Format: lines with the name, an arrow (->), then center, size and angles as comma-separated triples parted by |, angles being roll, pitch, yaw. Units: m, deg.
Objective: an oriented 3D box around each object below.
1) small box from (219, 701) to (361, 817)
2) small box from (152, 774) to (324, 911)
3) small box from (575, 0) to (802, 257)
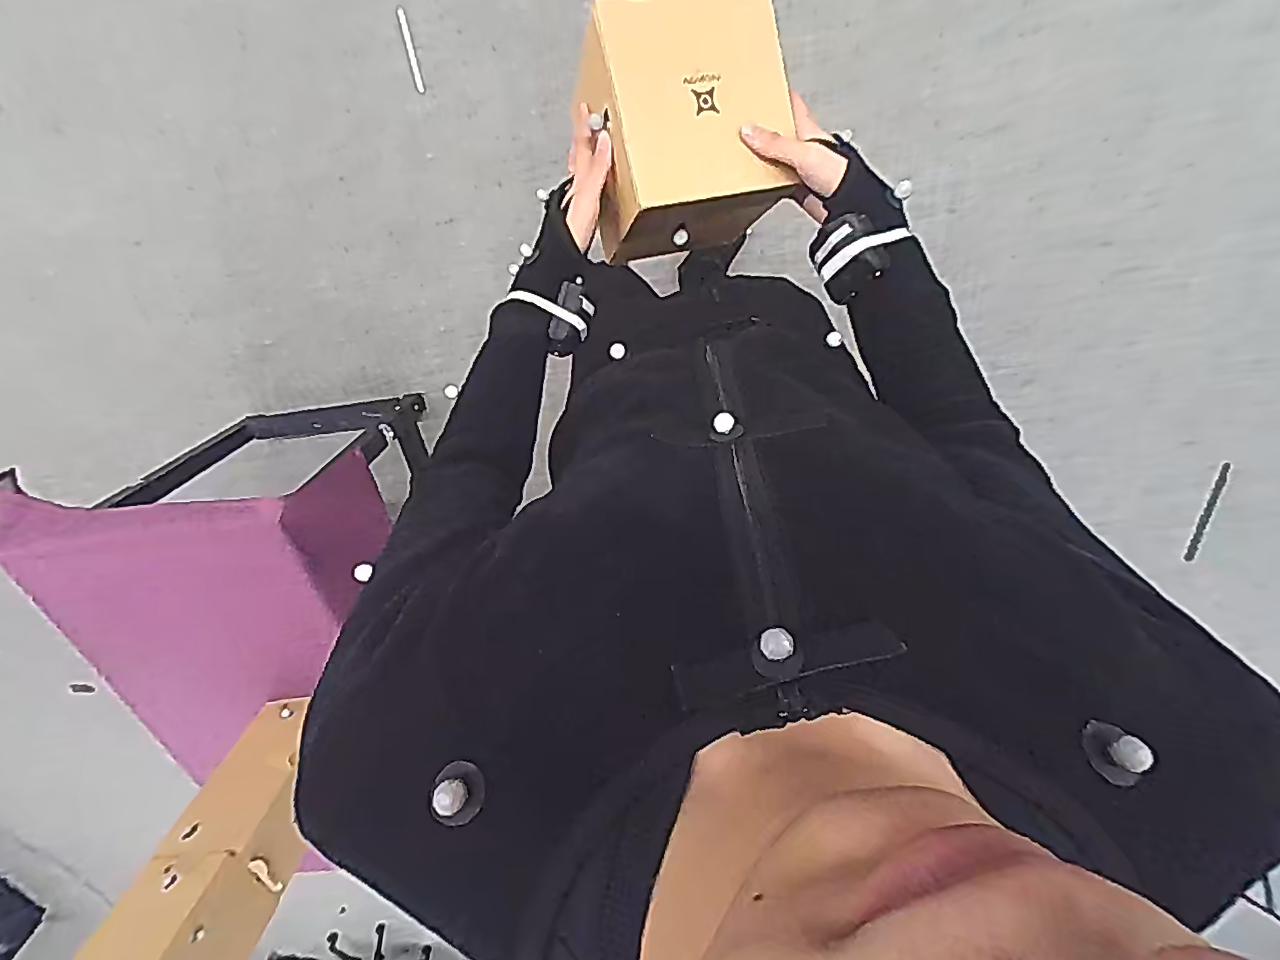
small box -> -0.760, 0.621, 1.199 | 0.168, 0.176, 0.179 | -10, 118, 7
small box -> -0.768, 0.702, 1.056 | 0.179, 0.176, 0.168 | -5, 119, 4
small box -> 0.038, -0.344, 0.552 | 0.168, 0.176, 0.179 | -15, 97, -12
